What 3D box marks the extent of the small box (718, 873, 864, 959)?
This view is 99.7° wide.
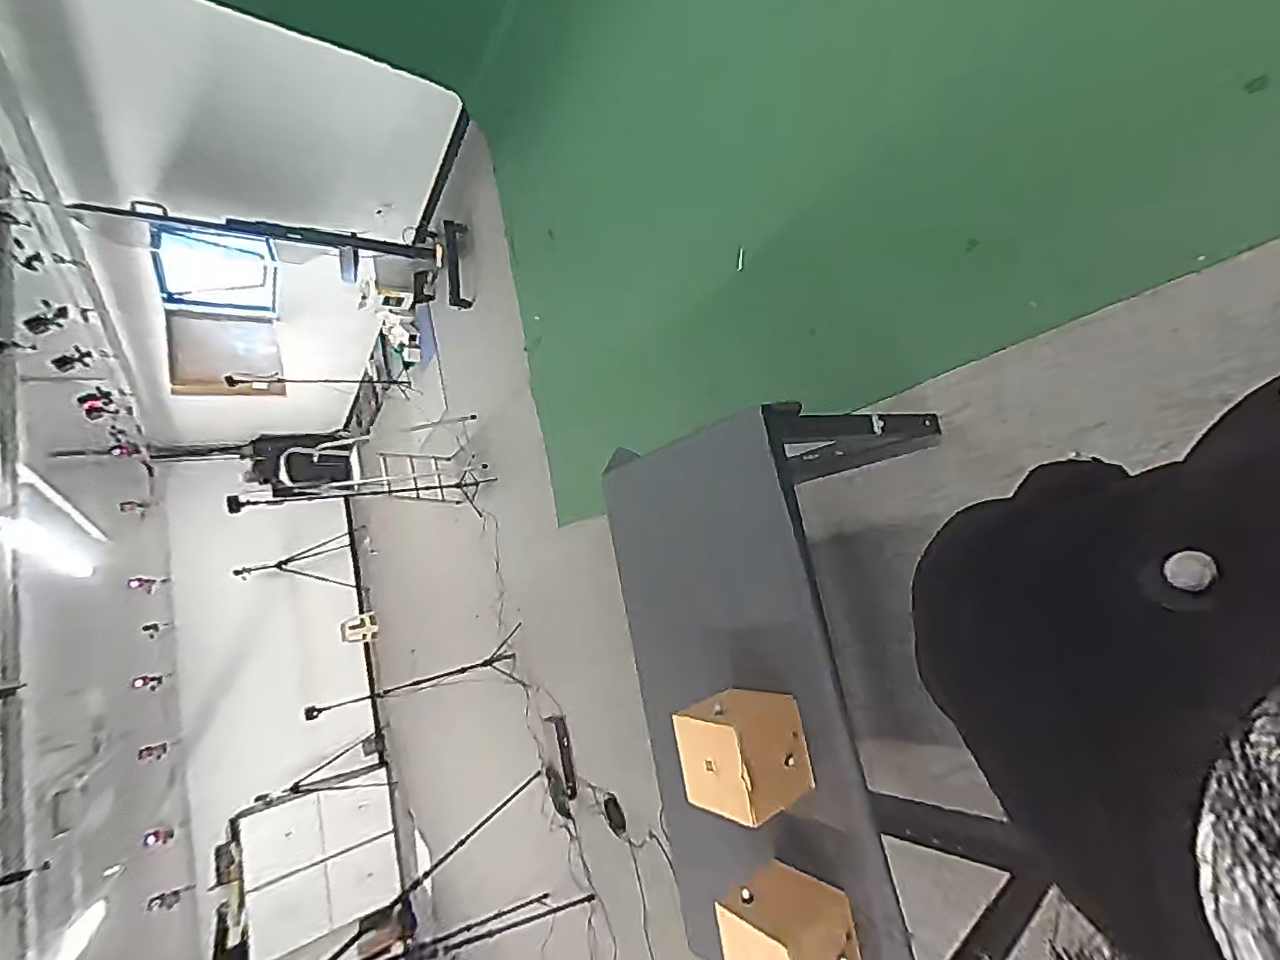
[{"bbox_3d":[0.267,0.833,0.943,0.179,0.176,0.168,-20,79,52],"label":"small box"}]

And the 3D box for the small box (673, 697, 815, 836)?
[{"bbox_3d":[0.191,0.515,1.005,0.179,0.176,0.168,-21,77,51],"label":"small box"}]
